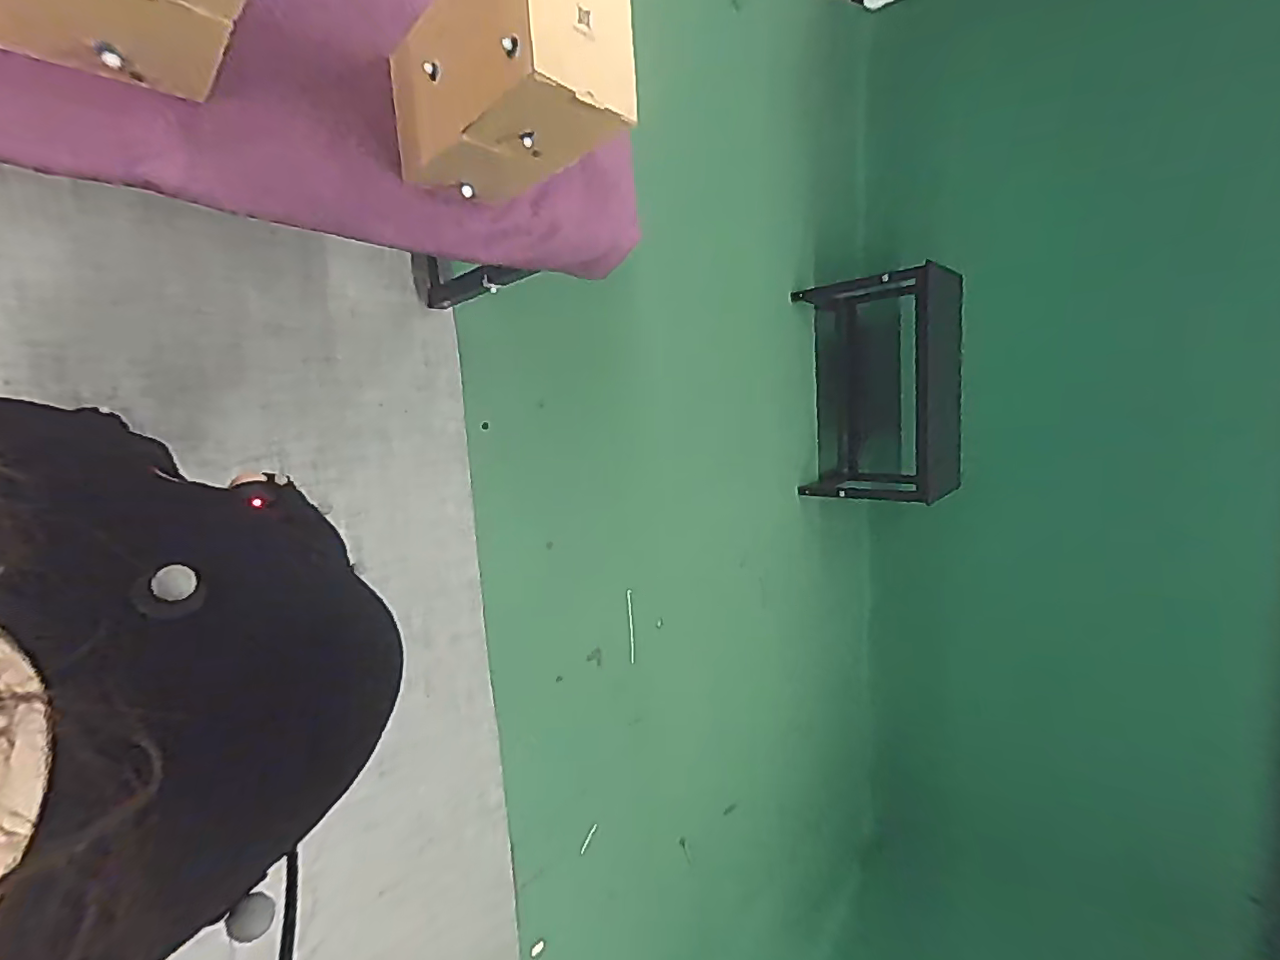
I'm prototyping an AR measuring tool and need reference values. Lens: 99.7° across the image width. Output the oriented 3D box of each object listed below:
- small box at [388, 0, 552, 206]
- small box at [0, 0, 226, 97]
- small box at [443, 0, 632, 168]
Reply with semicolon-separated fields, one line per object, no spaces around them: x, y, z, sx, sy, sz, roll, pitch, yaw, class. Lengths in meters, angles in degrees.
-0.251;-0.534;0.794;0.168;0.176;0.179;-11;100;-46;small box
-0.517;-0.510;0.503;0.168;0.176;0.179;-13;101;-46;small box
-0.131;-0.534;0.684;0.168;0.176;0.179;-12;101;-46;small box
